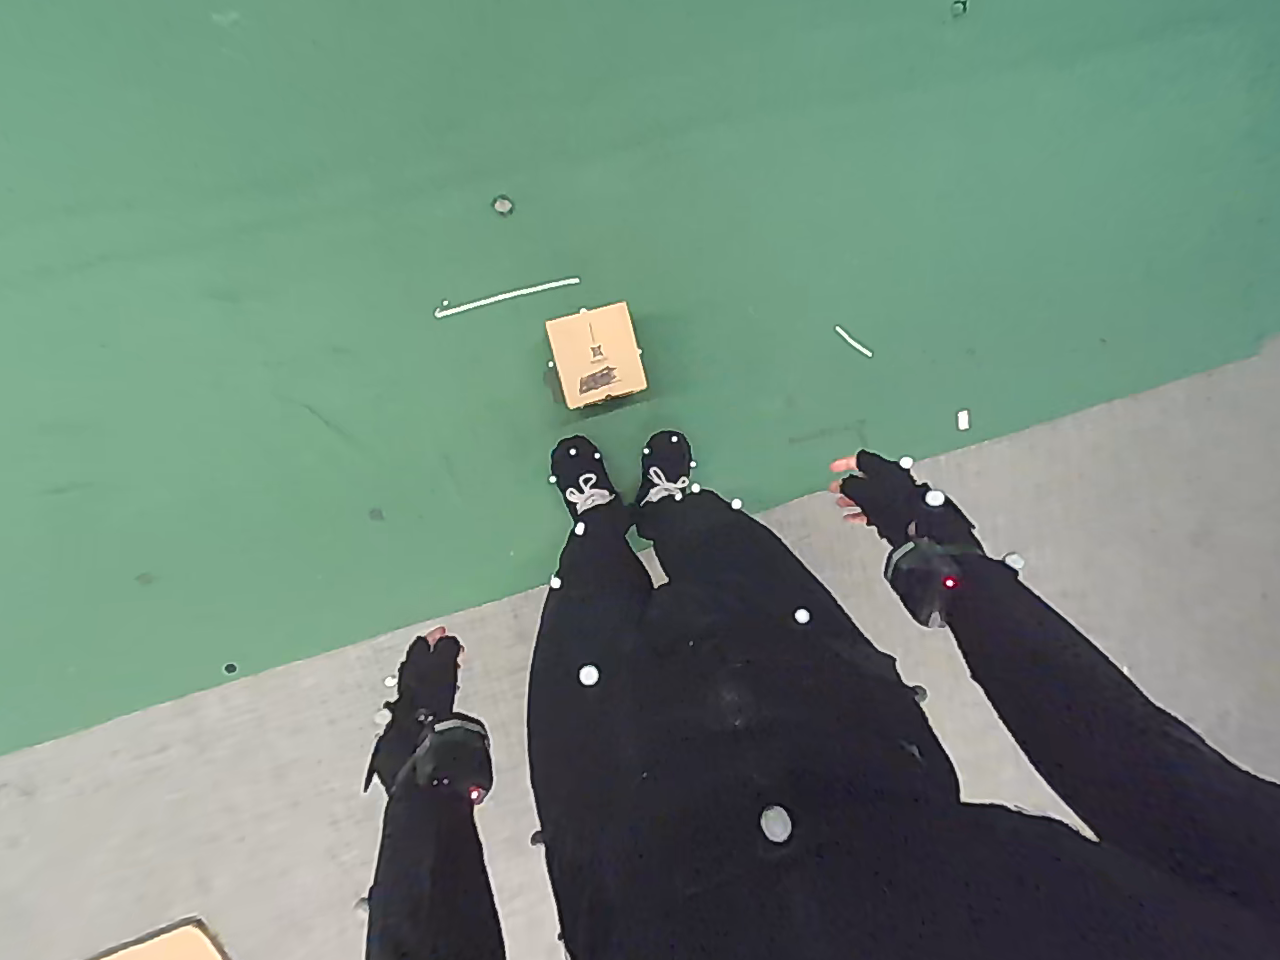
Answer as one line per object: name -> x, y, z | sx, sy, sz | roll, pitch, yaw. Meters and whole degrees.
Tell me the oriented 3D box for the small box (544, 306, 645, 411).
small box -> -0.098, -0.255, 1.145 | 0.168, 0.176, 0.179 | -16, 102, -6
